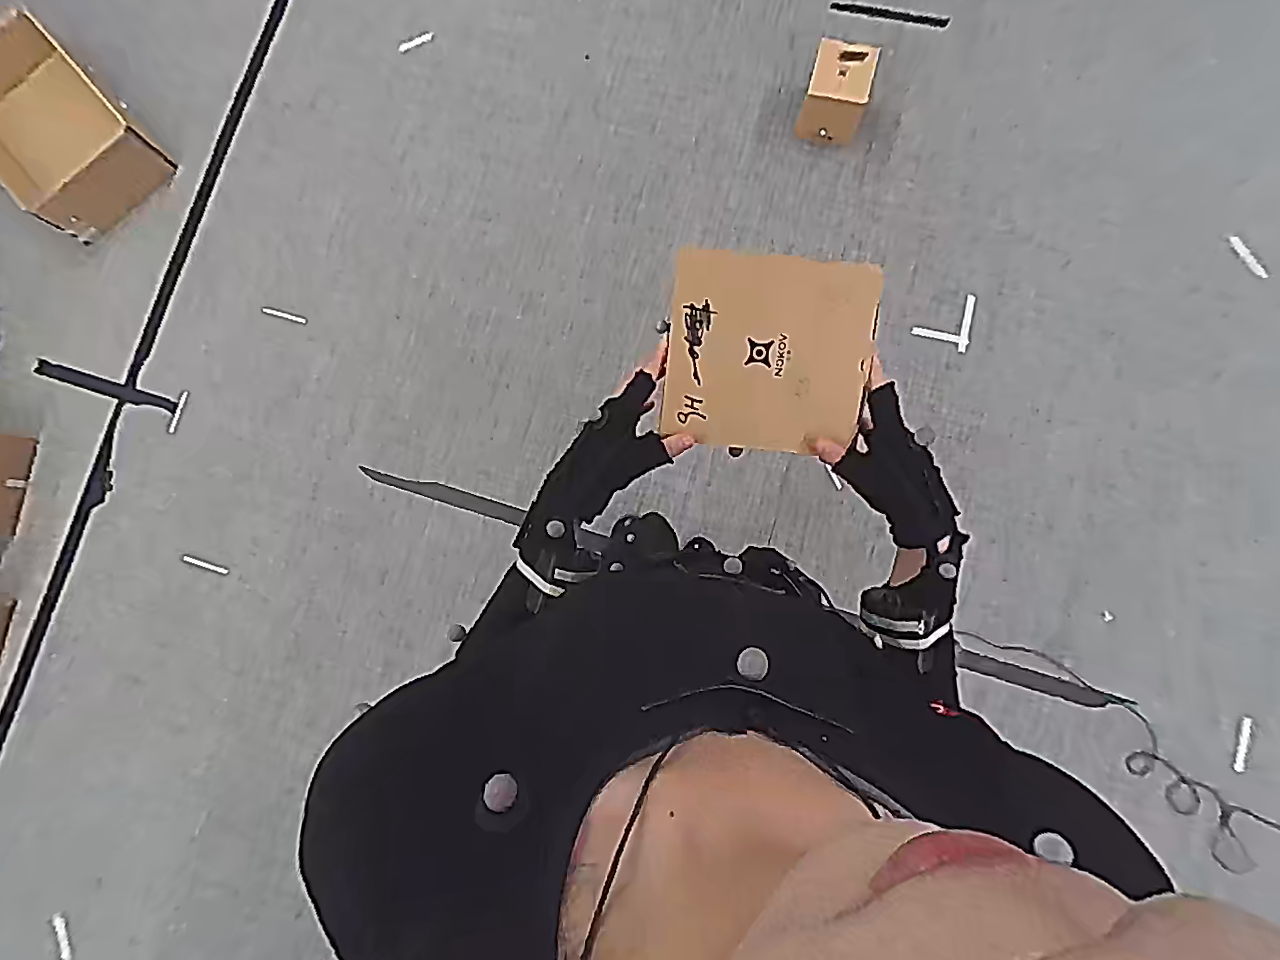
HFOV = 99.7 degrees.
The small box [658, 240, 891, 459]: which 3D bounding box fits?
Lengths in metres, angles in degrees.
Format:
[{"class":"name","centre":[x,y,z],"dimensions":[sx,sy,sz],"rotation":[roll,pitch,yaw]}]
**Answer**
[{"class":"small box","centre":[0.115,-0.120,0.539],"dimensions":[0.179,0.176,0.168],"rotation":[7,97,0]}]

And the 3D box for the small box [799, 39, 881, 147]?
[{"class":"small box","centre":[0.575,-1.123,1.578],"dimensions":[0.168,0.176,0.179],"rotation":[15,85,6]}]
